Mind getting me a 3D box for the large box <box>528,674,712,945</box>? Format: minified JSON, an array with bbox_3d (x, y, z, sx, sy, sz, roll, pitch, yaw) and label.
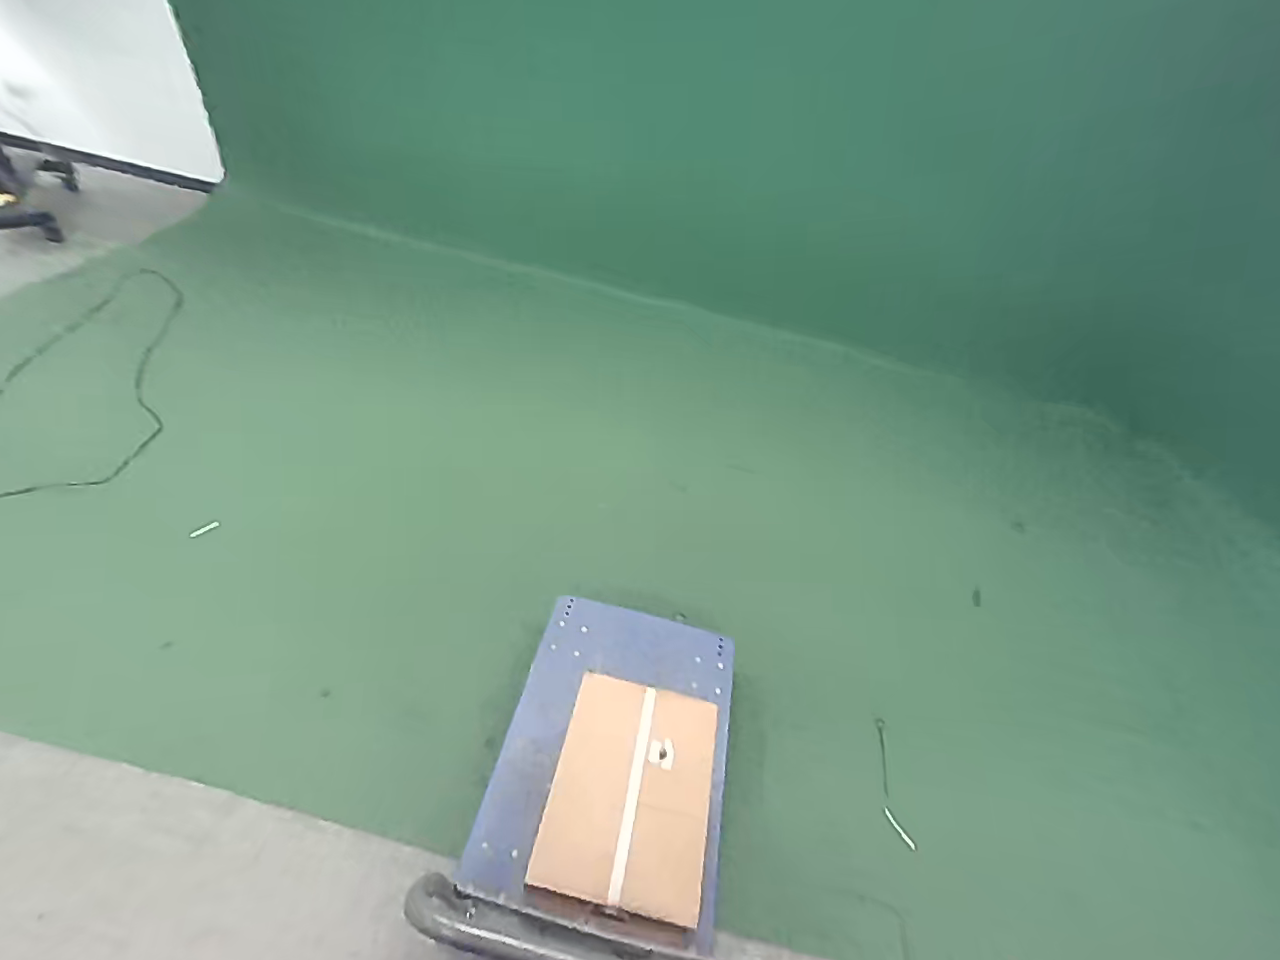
[{"bbox_3d":[-0.040,0.712,1.181,0.320,0.320,0.408,15,43,1],"label":"large box"}]
